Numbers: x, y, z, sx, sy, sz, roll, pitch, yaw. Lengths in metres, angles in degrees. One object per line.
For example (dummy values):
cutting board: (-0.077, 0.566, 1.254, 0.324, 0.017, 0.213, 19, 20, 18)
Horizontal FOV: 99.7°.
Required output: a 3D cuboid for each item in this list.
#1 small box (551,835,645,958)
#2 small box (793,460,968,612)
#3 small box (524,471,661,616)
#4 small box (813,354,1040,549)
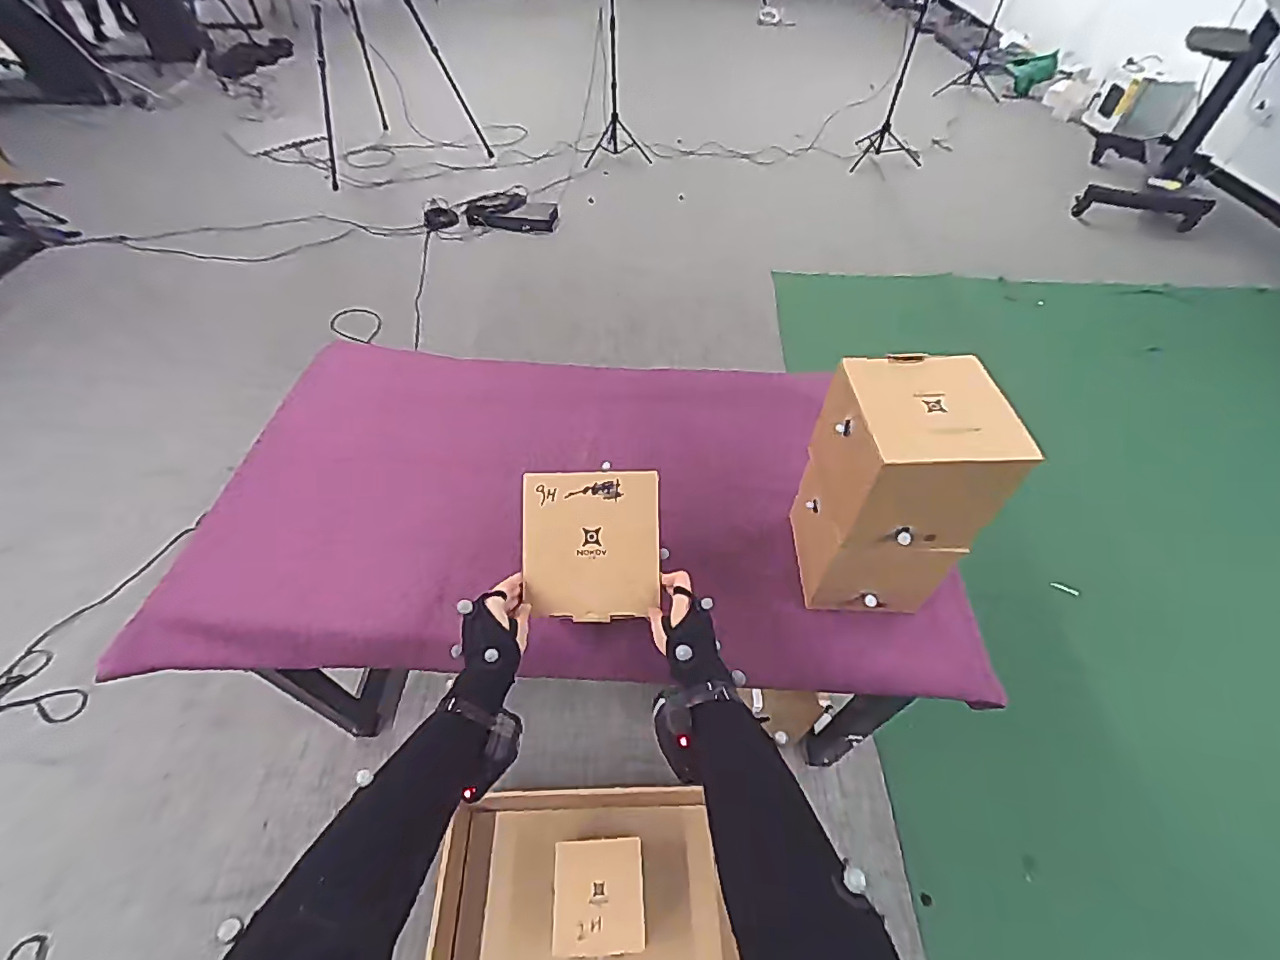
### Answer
small box: (-0.078, 0.808, 1.052, 0.168, 0.176, 0.179, -2, 52, -2)
small box: (0.330, 0.071, 0.786, 0.168, 0.176, 0.179, 2, 50, 2)
small box: (-0.055, 0.082, 0.728, 0.168, 0.176, 0.179, -1, 84, 1)
small box: (0.325, -0.035, 0.662, 0.168, 0.176, 0.179, -1, 49, 0)
